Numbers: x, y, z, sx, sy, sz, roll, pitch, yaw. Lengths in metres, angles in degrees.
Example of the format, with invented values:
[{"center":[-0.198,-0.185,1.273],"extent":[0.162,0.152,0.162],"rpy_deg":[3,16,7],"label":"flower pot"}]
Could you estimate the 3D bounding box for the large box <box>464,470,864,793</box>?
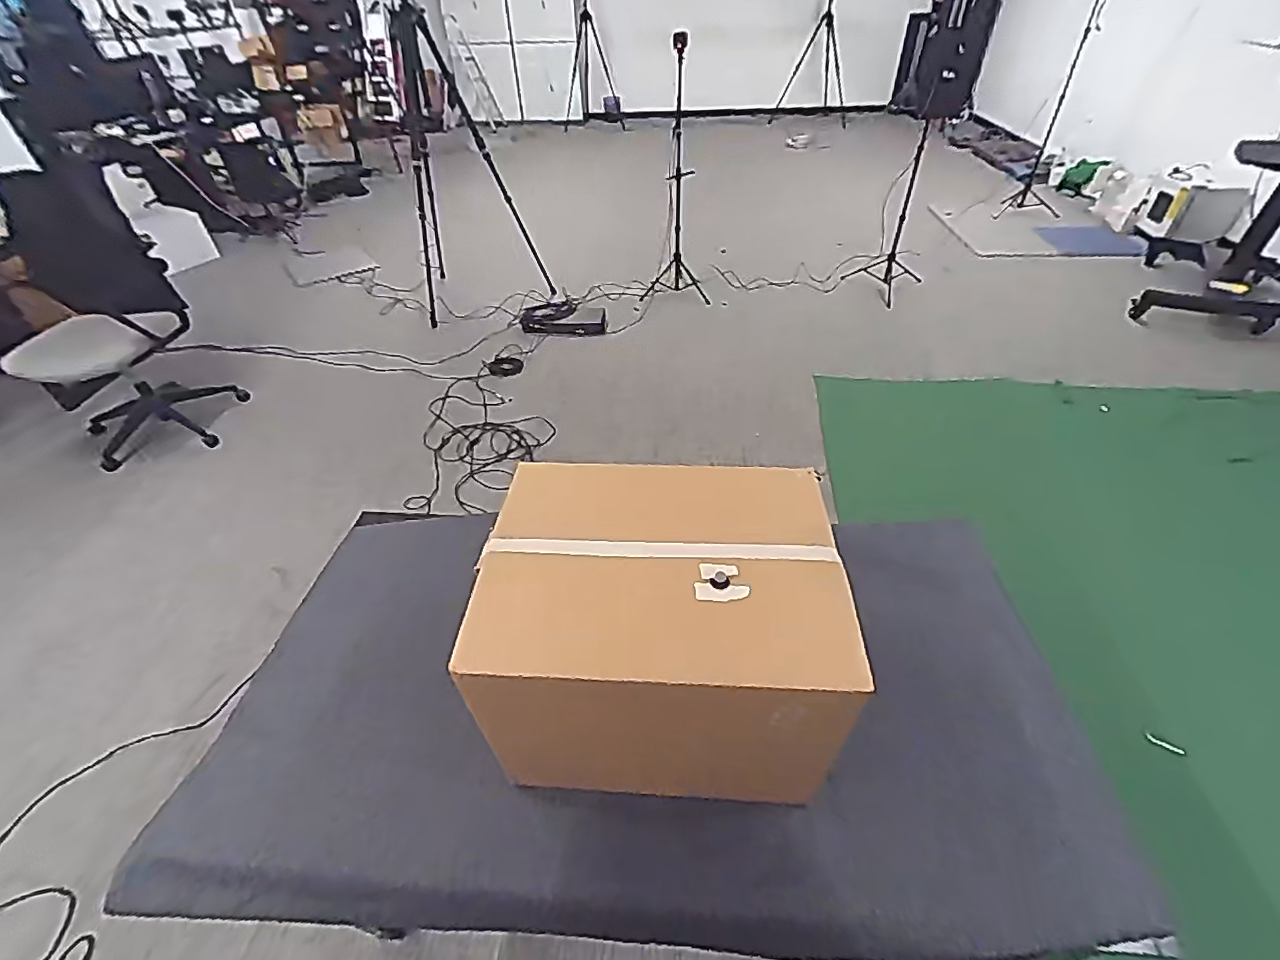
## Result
[{"center":[0.029,0.201,0.736],"extent":[0.408,0.320,0.320],"rpy_deg":[1,43,3],"label":"large box"}]
